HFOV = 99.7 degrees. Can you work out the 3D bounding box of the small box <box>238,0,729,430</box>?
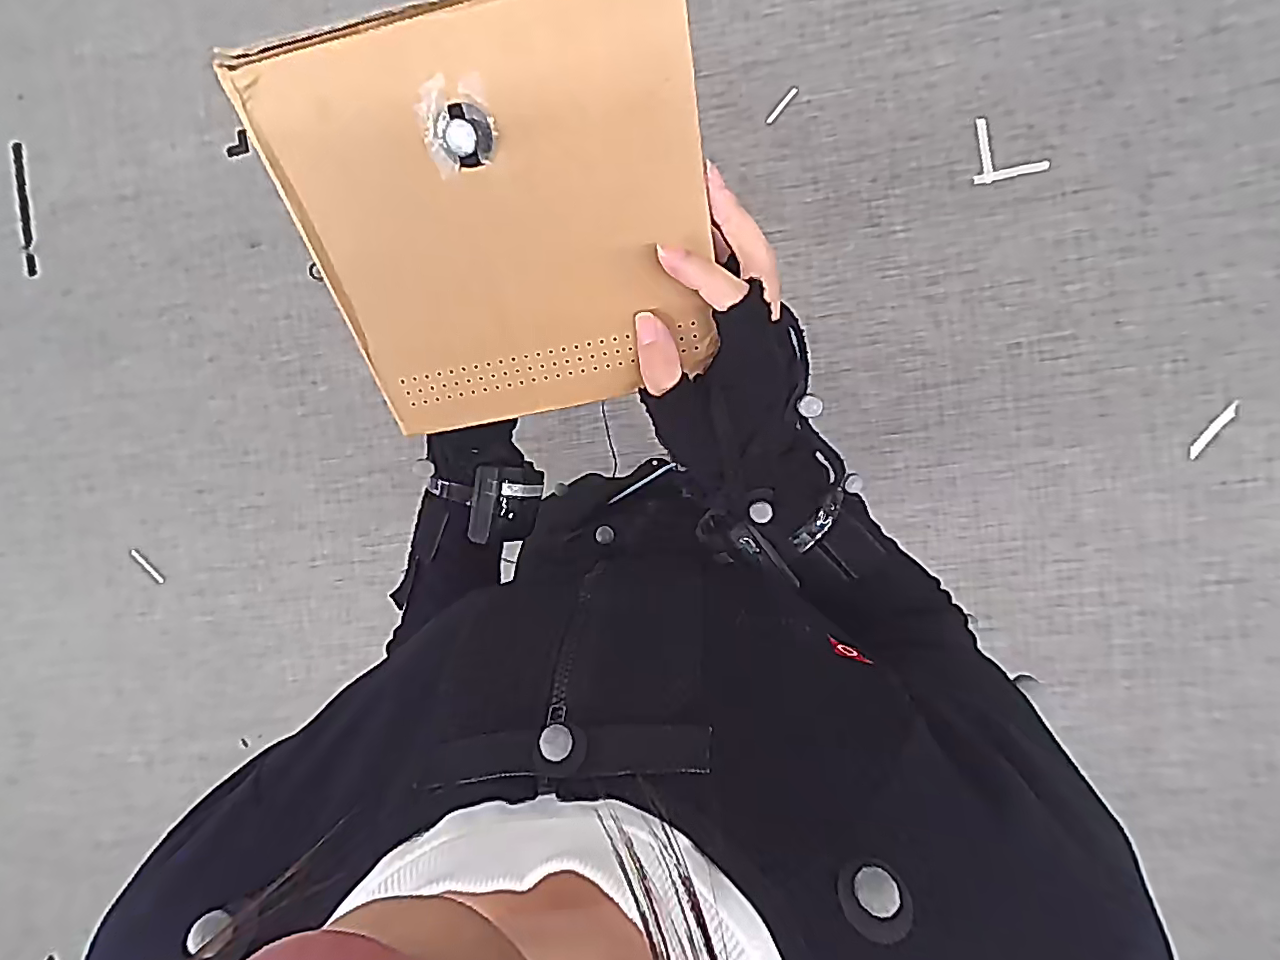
[{"bbox_3d":[-0.055,-0.144,0.305,0.179,0.168,0.176,-10,126,5],"label":"small box"}]
